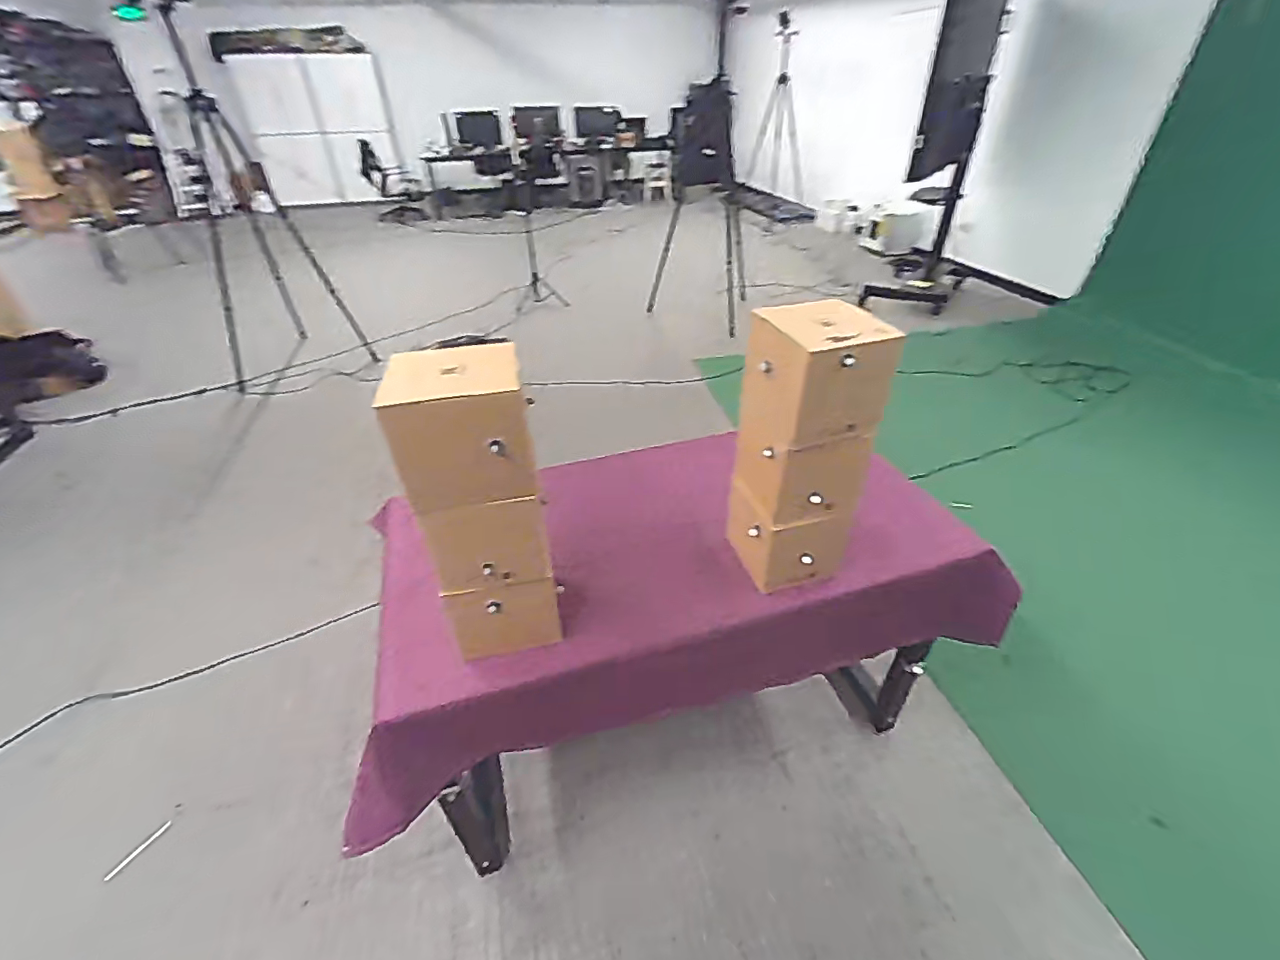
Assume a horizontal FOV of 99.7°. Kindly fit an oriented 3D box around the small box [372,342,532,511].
[{"bbox_3d":[-0.249,-0.077,0.763,0.179,0.176,0.168,-9,37,-9],"label":"small box"}]

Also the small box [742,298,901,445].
[{"bbox_3d":[0.279,-0.179,0.879,0.168,0.176,0.179,-14,38,-14],"label":"small box"}]

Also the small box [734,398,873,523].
[{"bbox_3d":[0.282,-0.049,0.980,0.168,0.176,0.179,-11,39,-12],"label":"small box"}]

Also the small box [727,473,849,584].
[{"bbox_3d":[0.282,0.087,1.071,0.168,0.176,0.179,-11,38,-12],"label":"small box"}]

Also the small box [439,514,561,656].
[{"bbox_3d":[-0.243,0.187,0.957,0.179,0.176,0.168,-9,37,-11],"label":"small box"}]
